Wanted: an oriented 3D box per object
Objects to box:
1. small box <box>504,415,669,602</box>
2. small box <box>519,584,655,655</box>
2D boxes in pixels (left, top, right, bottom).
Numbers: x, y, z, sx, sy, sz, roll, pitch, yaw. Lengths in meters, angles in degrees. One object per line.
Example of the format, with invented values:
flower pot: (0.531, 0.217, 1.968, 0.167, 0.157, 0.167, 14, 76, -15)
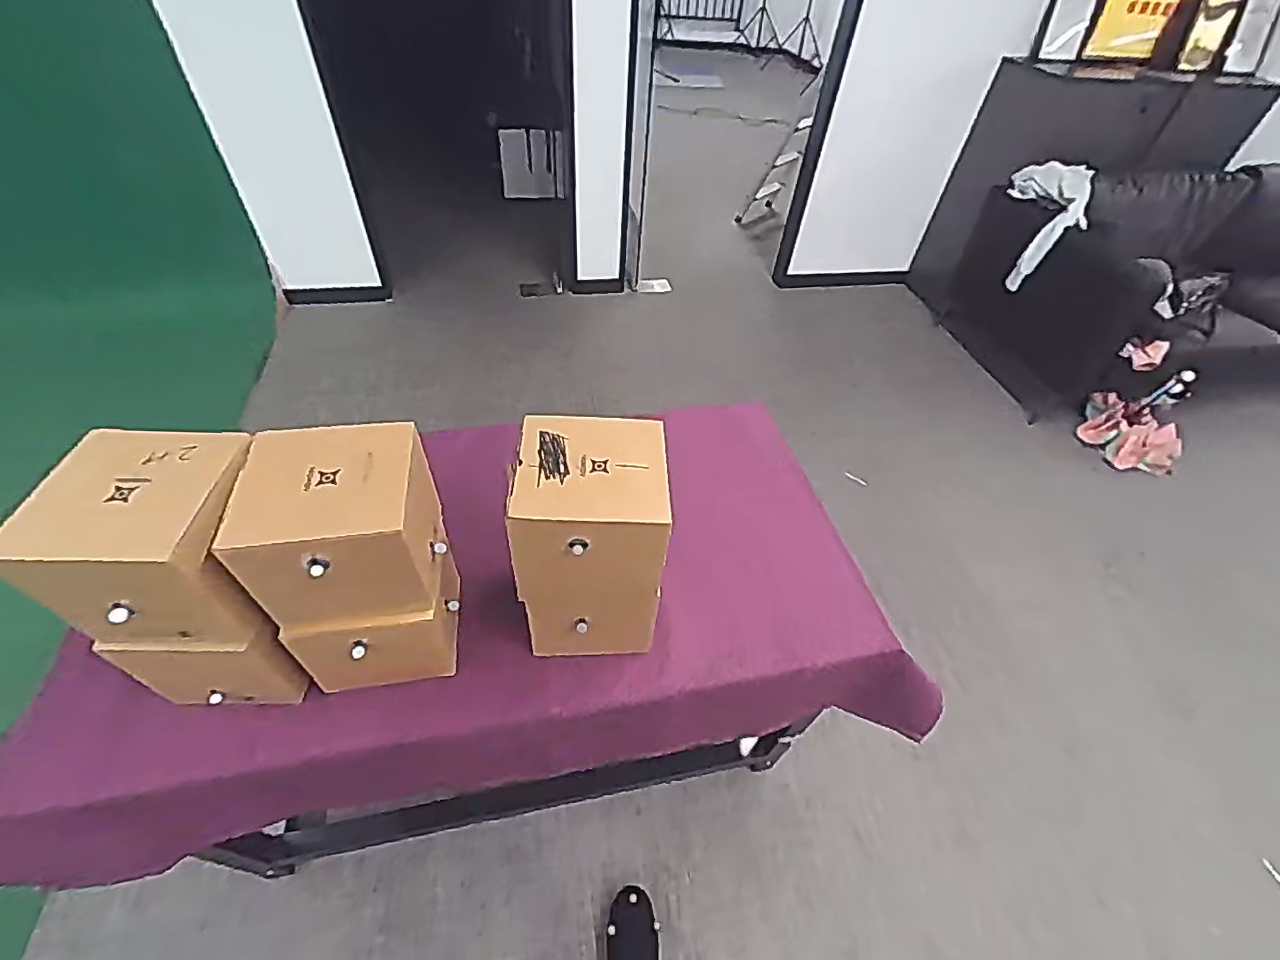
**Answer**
small box: (-0.063, 0.039, 0.674, 0.179, 0.176, 0.168, 3, 47, -5)
small box: (-0.075, 0.147, 0.798, 0.179, 0.176, 0.168, 0, 48, -6)
